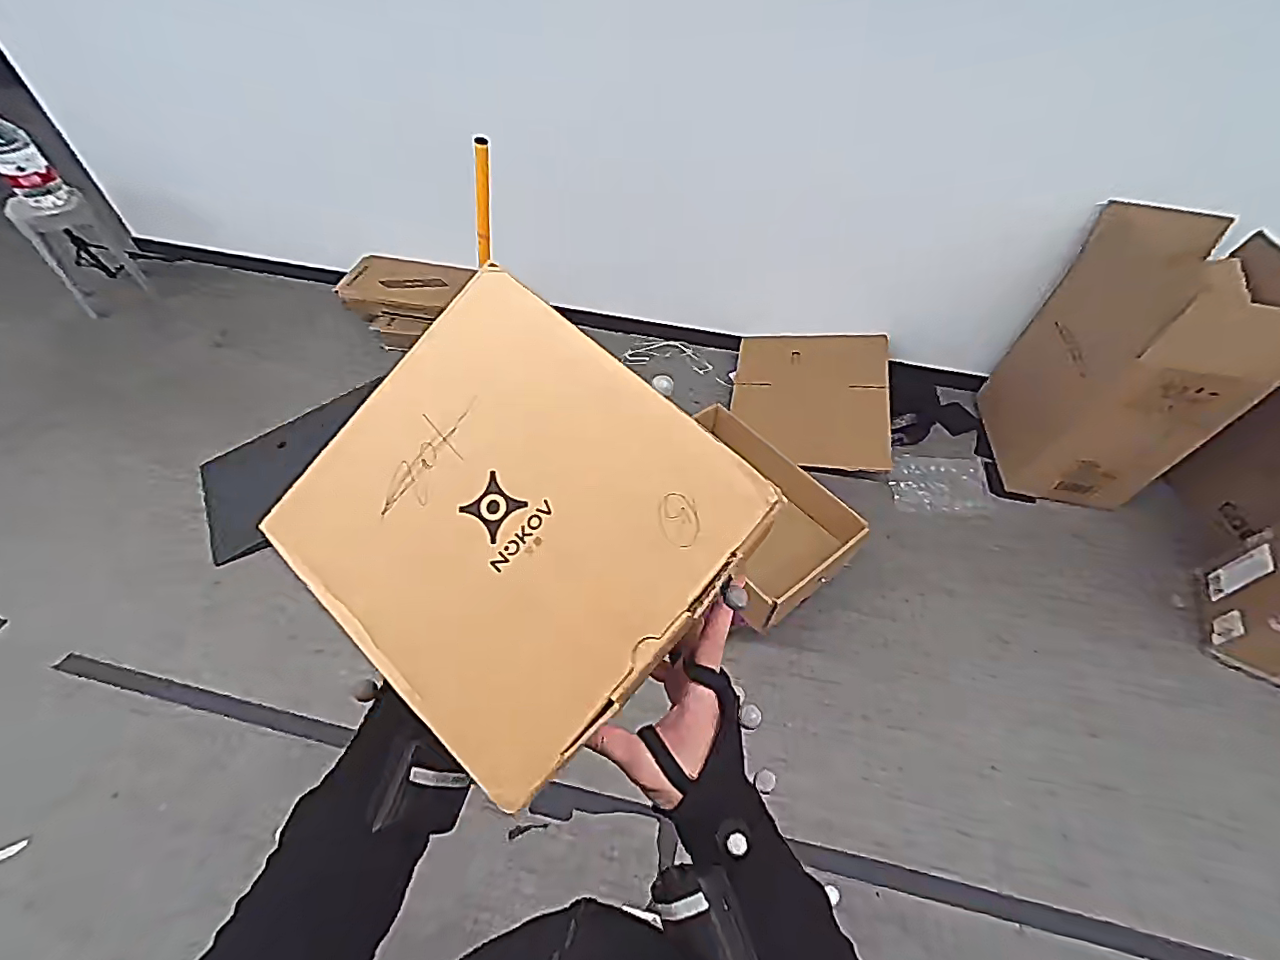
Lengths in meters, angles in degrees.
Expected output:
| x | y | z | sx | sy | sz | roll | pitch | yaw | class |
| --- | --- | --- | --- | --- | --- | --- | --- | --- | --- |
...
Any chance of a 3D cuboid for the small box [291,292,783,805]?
| x | y | z | sx | sy | sz | roll | pitch | yaw | class |
| --- | --- | --- | --- | --- | --- | --- | --- | --- | --- |
| -0.040 | 0.035 | 0.319 | 0.179 | 0.176 | 0.168 | 41 | 87 | 16 | small box |
